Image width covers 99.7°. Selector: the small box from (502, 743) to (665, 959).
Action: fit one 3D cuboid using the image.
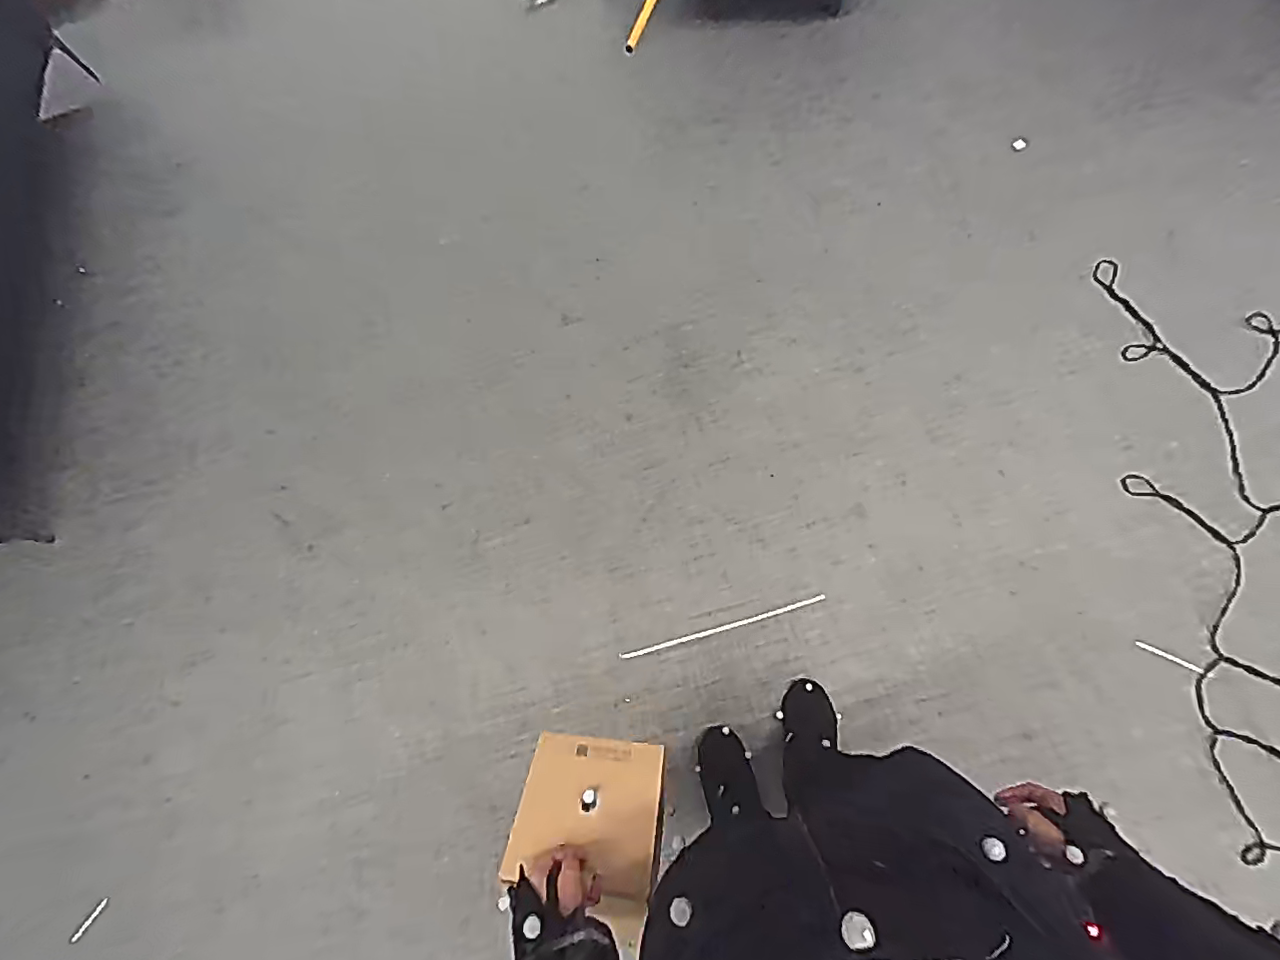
[{"bbox_3d":[-0.058,0.458,0.679,0.168,0.179,0.176,3,34,6],"label":"small box"}]
